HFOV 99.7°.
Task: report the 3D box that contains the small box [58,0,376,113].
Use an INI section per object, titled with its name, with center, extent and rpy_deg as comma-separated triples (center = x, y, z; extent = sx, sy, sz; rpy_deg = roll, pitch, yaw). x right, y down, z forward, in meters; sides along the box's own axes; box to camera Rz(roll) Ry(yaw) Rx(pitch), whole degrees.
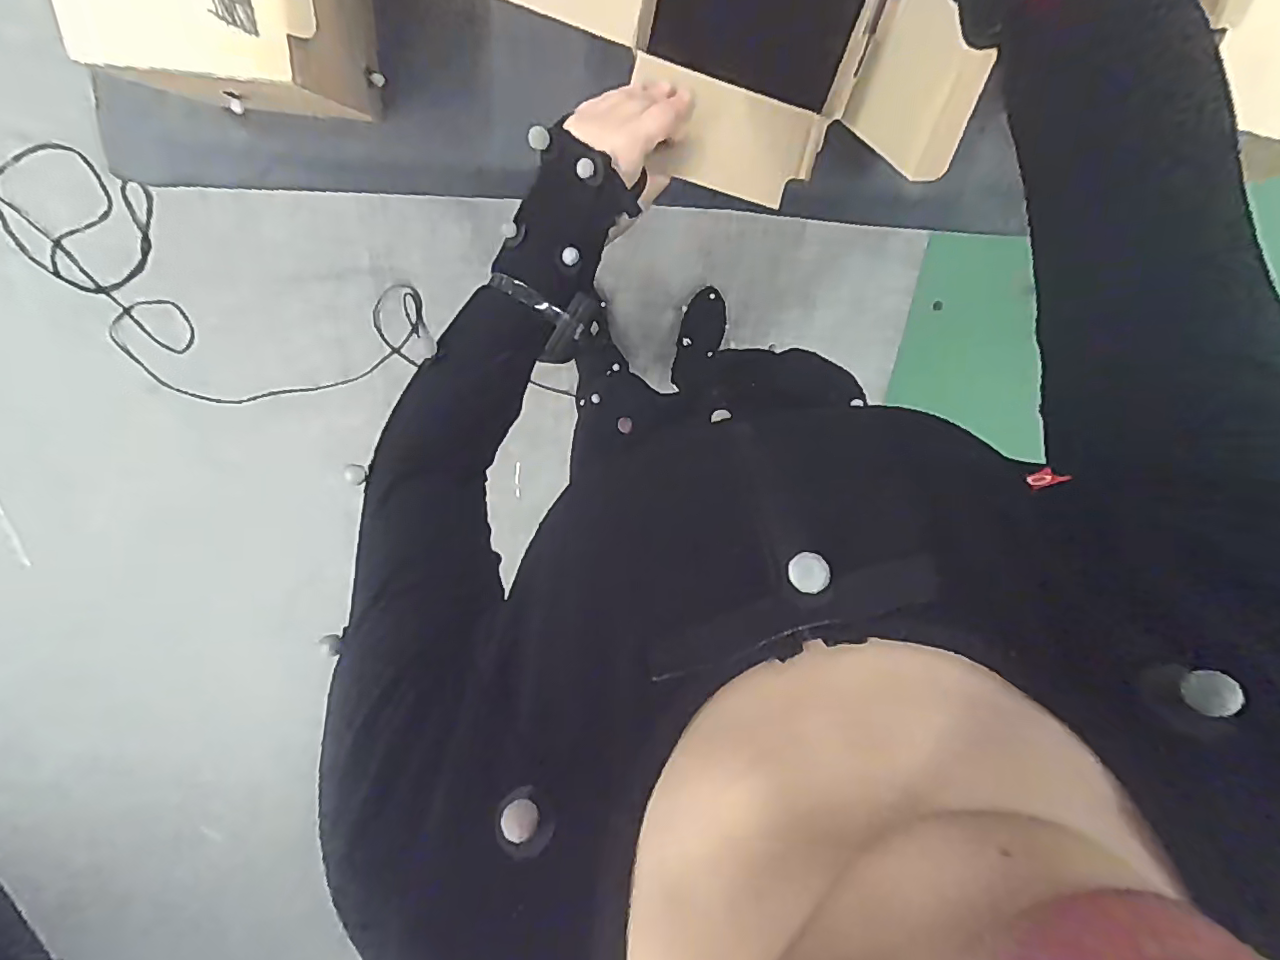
[small box]
center = -0.347, -0.429, 0.461
extent = 0.179, 0.176, 0.168
rpy_deg = 4, 115, -2
